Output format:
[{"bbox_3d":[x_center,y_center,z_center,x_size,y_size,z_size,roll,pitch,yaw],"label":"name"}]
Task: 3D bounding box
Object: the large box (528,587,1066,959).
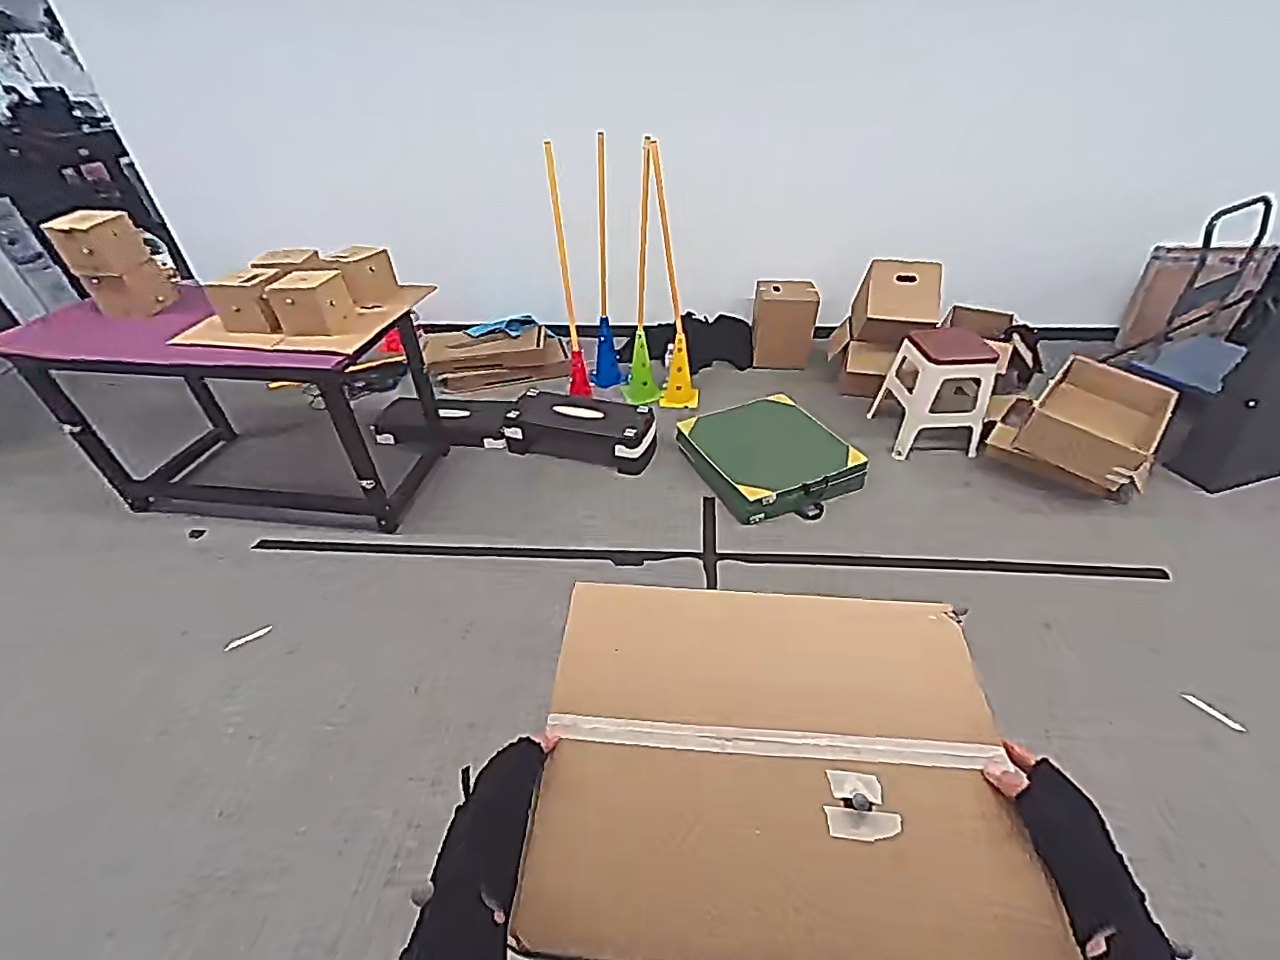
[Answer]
[{"bbox_3d":[0.123,0.343,0.605,0.408,0.320,0.320,3,46,4],"label":"large box"}]
